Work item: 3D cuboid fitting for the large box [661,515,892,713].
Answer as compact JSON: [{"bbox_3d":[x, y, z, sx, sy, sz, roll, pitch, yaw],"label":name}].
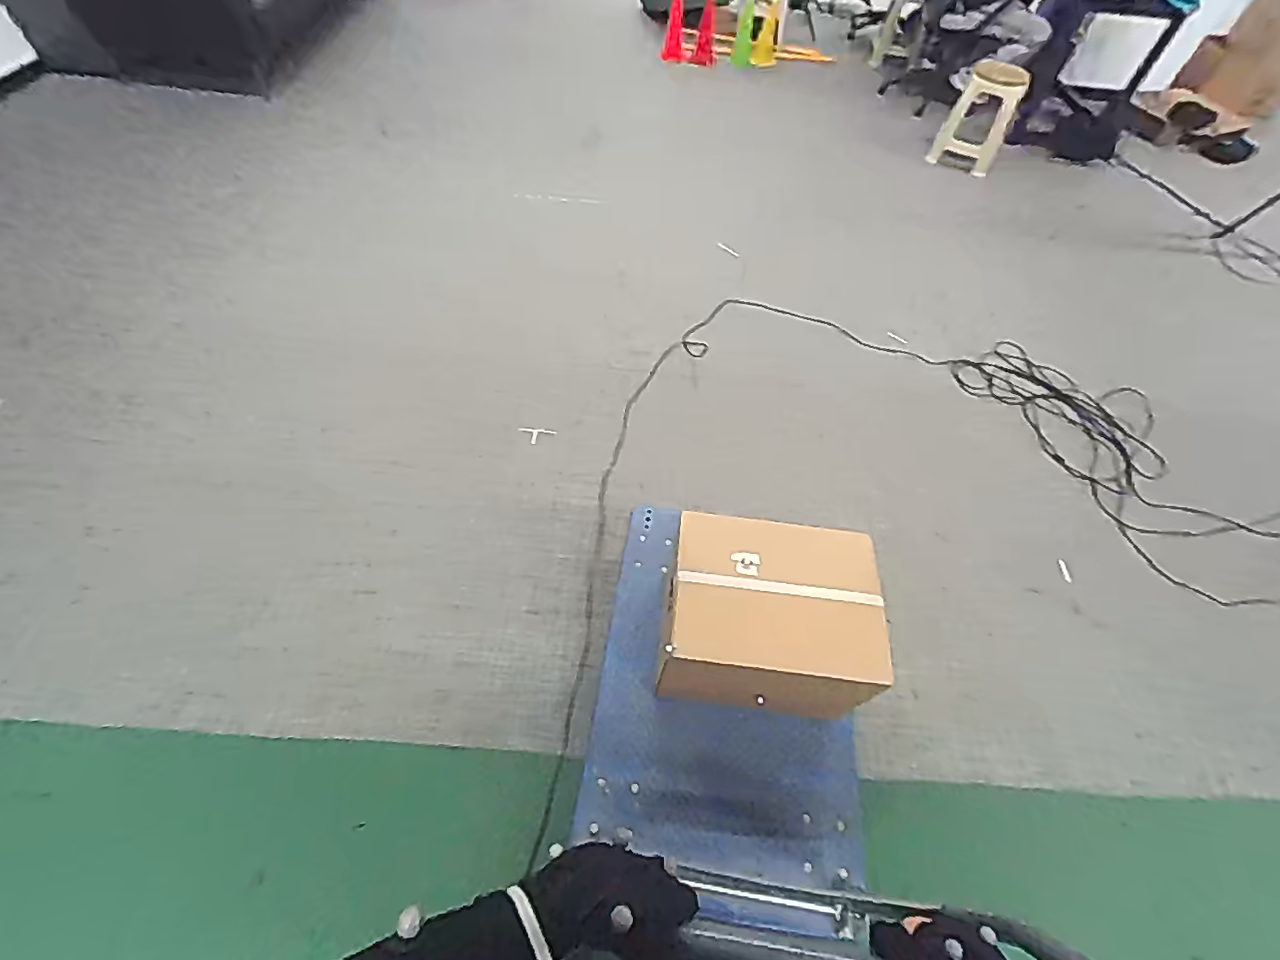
[{"bbox_3d":[0.267,0.301,1.181,0.408,0.320,0.320,7,54,1],"label":"large box"}]
